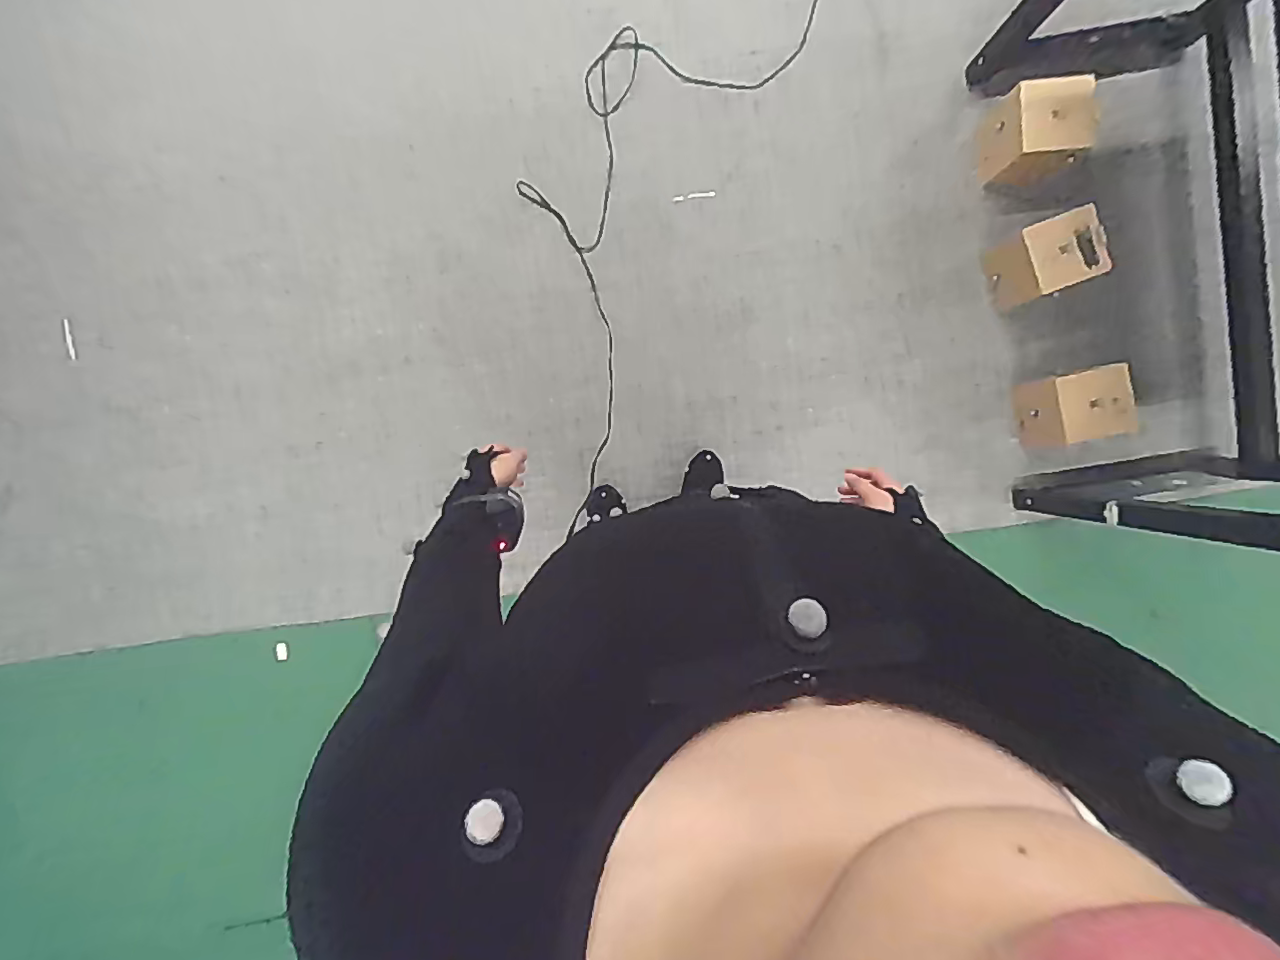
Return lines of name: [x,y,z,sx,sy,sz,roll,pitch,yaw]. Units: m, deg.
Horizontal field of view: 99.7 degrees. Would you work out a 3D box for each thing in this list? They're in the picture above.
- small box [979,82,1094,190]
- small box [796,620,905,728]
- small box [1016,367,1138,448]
small box: [0.974,-0.845,1.345,0.179,0.176,0.168,-4,93,1]
small box: [0.543,0.499,1.418,0.168,0.176,0.179,-41,93,2]
small box: [1.094,-0.177,1.373,0.179,0.176,0.168,-13,93,1]
